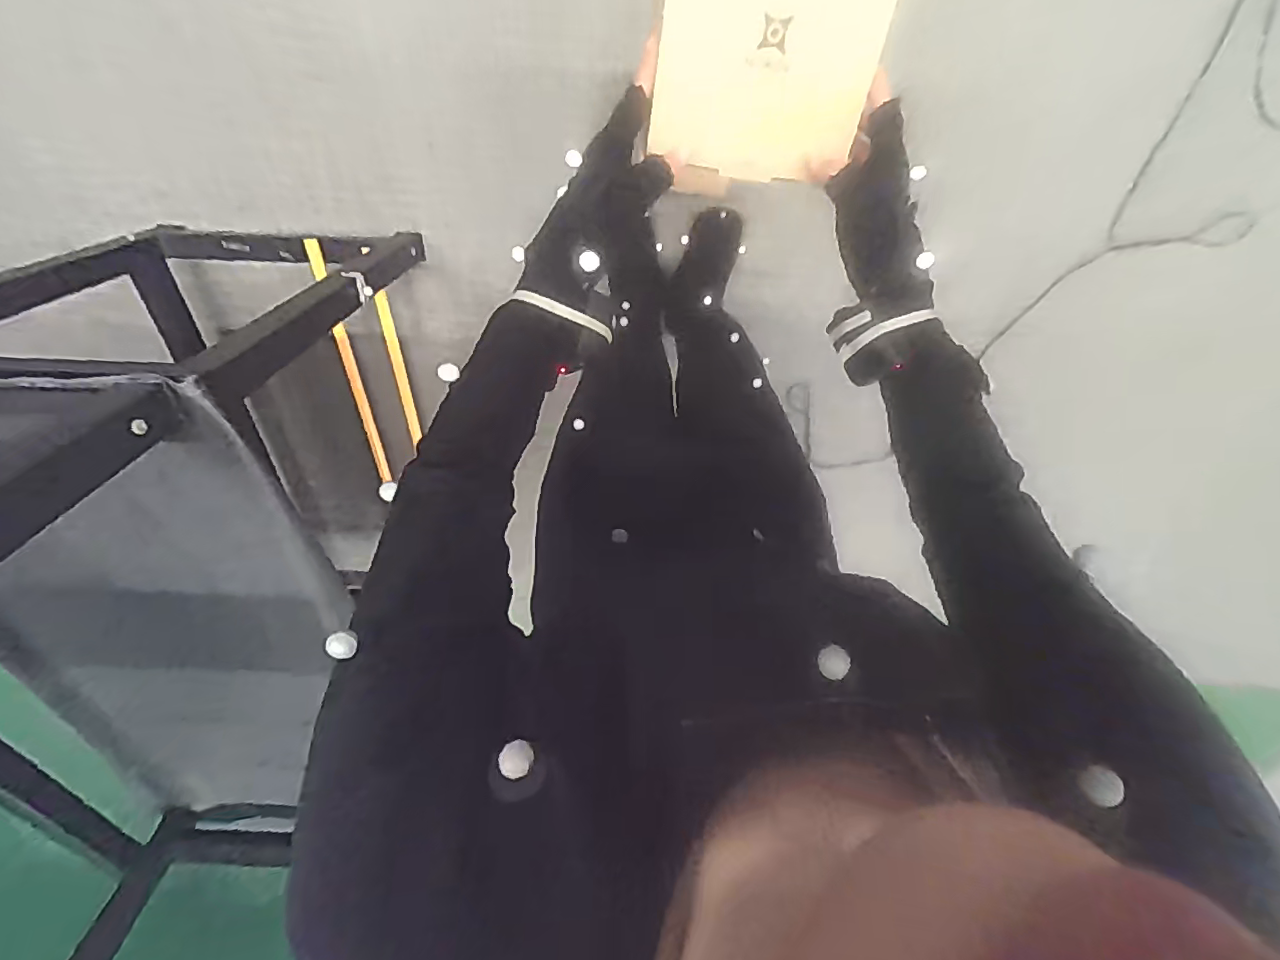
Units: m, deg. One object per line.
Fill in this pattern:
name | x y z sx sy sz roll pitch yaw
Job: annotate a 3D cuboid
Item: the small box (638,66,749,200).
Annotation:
small box | 0.090 -0.637 0.993 0.168 0.176 0.179 8 126 -3
